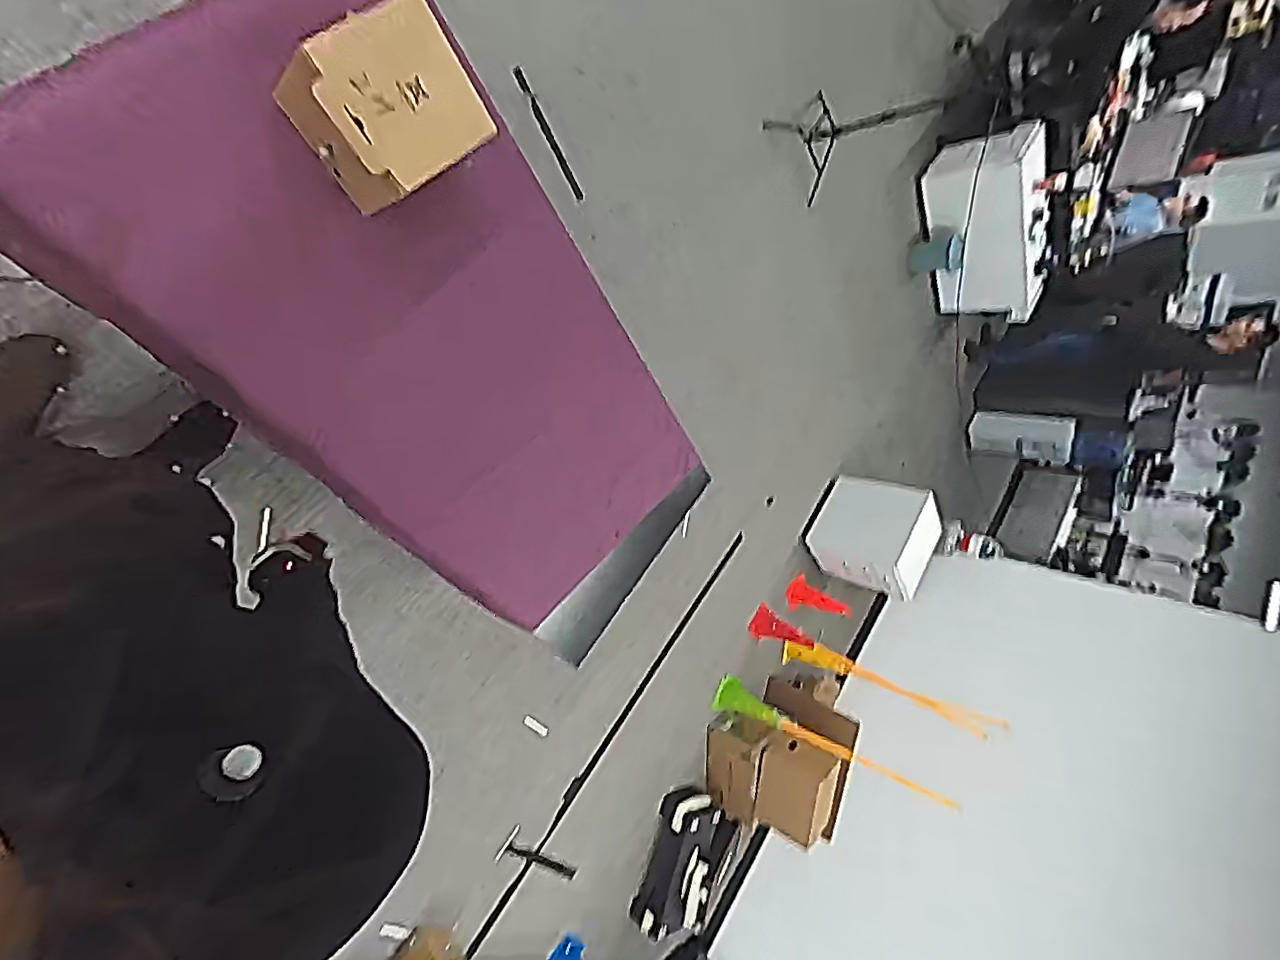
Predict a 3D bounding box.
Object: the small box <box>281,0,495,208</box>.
[{"bbox_3d":[-0.338,-0.496,0.725,0.179,0.176,0.168,-50,130,-22],"label":"small box"}]
